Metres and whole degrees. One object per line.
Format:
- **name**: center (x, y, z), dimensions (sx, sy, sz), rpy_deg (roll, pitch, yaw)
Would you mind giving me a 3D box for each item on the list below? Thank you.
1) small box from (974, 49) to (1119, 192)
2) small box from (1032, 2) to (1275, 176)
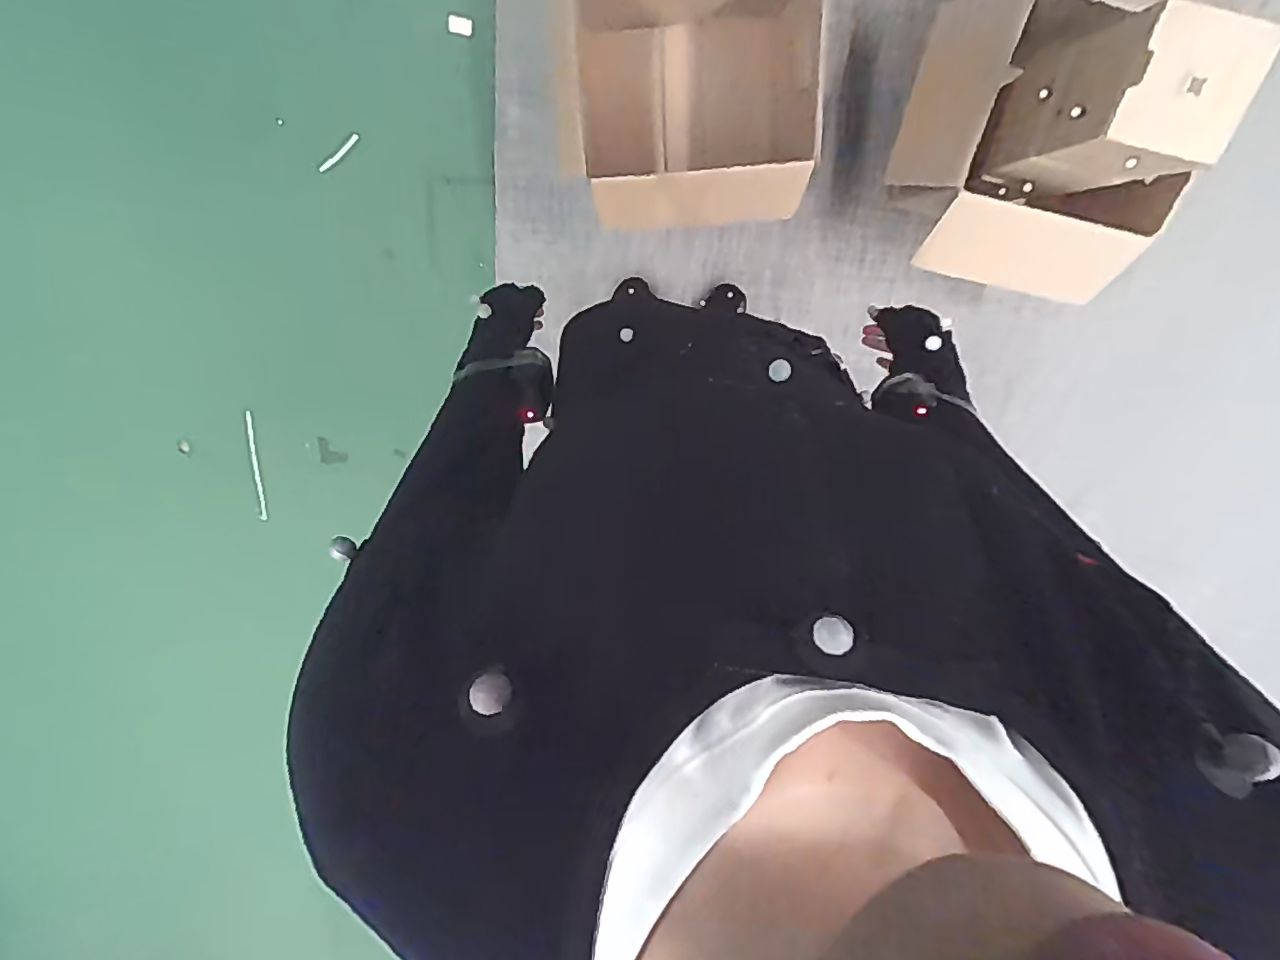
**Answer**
- **small box**: center (0.761, -0.636, 0.981), dimensions (0.179, 0.176, 0.168), rpy_deg (11, 110, -4)
- **small box**: center (0.759, -0.580, 0.829), dimensions (0.179, 0.176, 0.168), rpy_deg (10, 113, -4)
